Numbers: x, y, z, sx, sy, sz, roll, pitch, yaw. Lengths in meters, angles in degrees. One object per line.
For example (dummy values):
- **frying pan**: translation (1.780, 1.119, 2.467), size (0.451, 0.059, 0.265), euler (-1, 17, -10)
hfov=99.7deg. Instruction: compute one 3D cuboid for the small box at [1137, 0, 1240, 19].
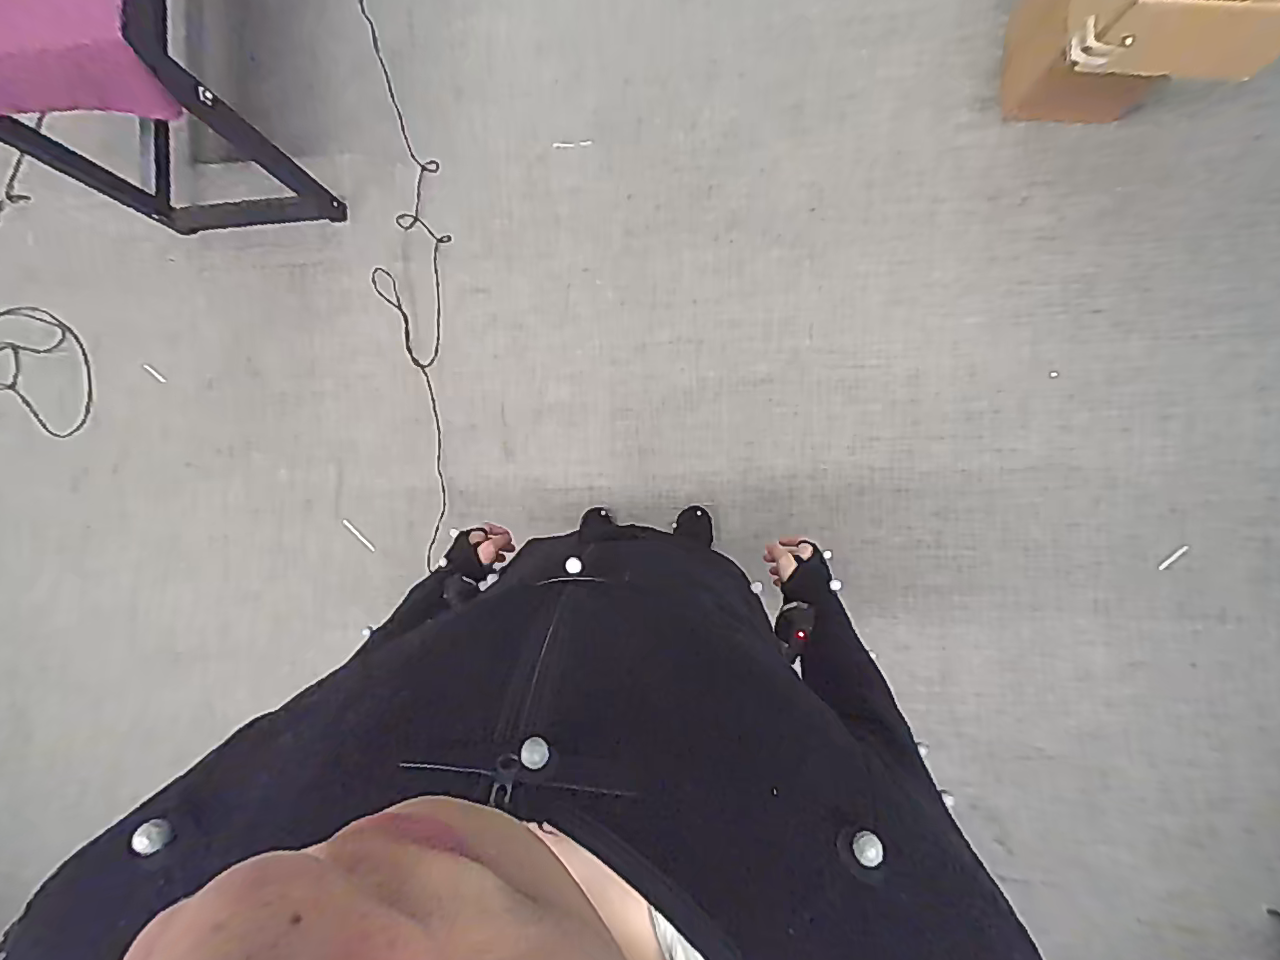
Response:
- **small box**: translation (1.153, -1.063, 1.066), size (0.179, 0.176, 0.168), euler (11, 90, 4)
